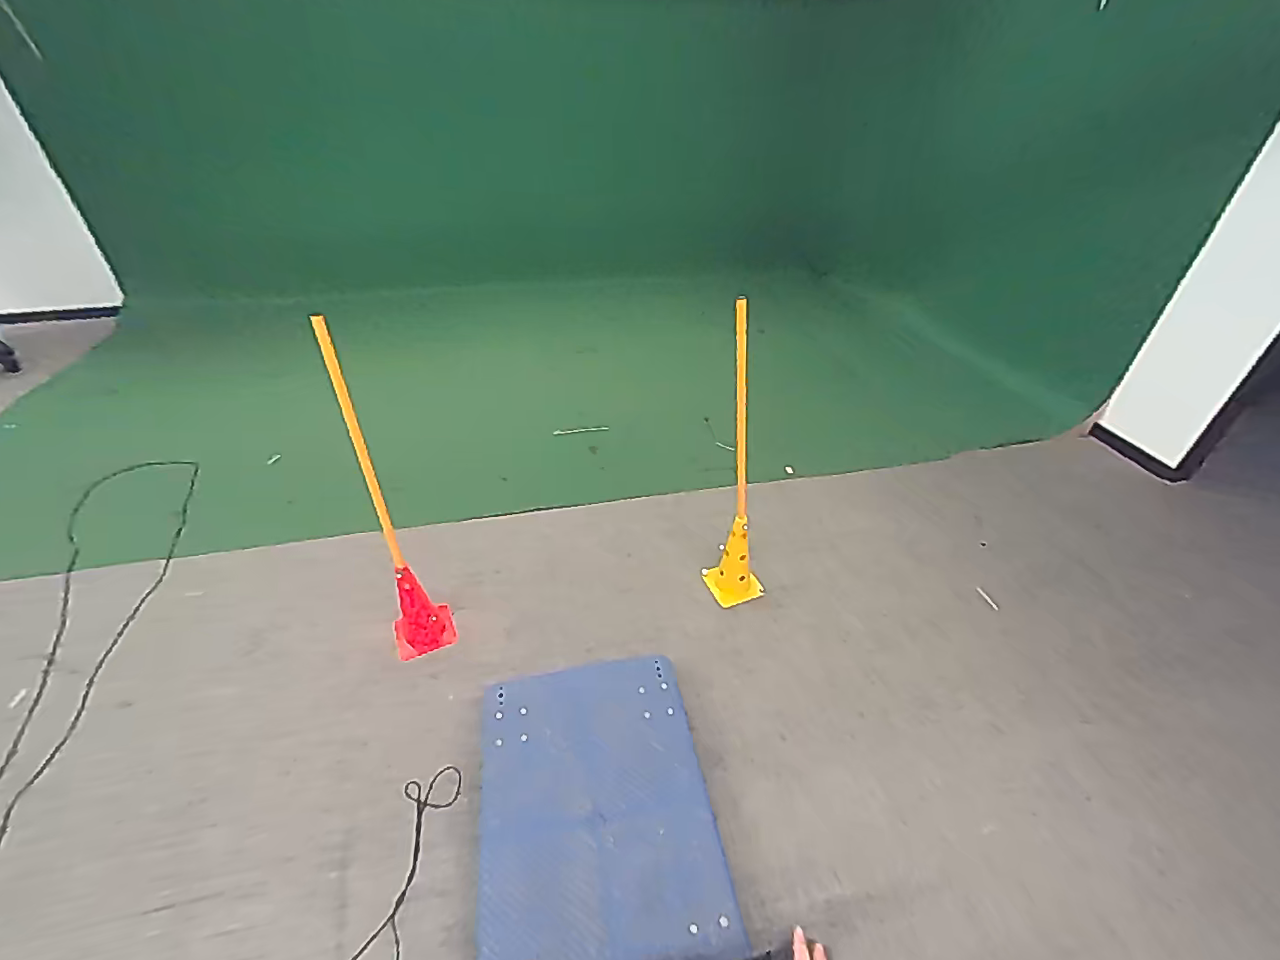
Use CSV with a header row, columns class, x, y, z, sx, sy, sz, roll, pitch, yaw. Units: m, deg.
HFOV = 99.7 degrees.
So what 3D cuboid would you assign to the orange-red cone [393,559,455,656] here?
class,x,y,z,sx,sy,sz,roll,pitch,yaw
orange-red cone,-0.792,0.410,1.878,0.199,0.360,0.198,-18,41,-20
